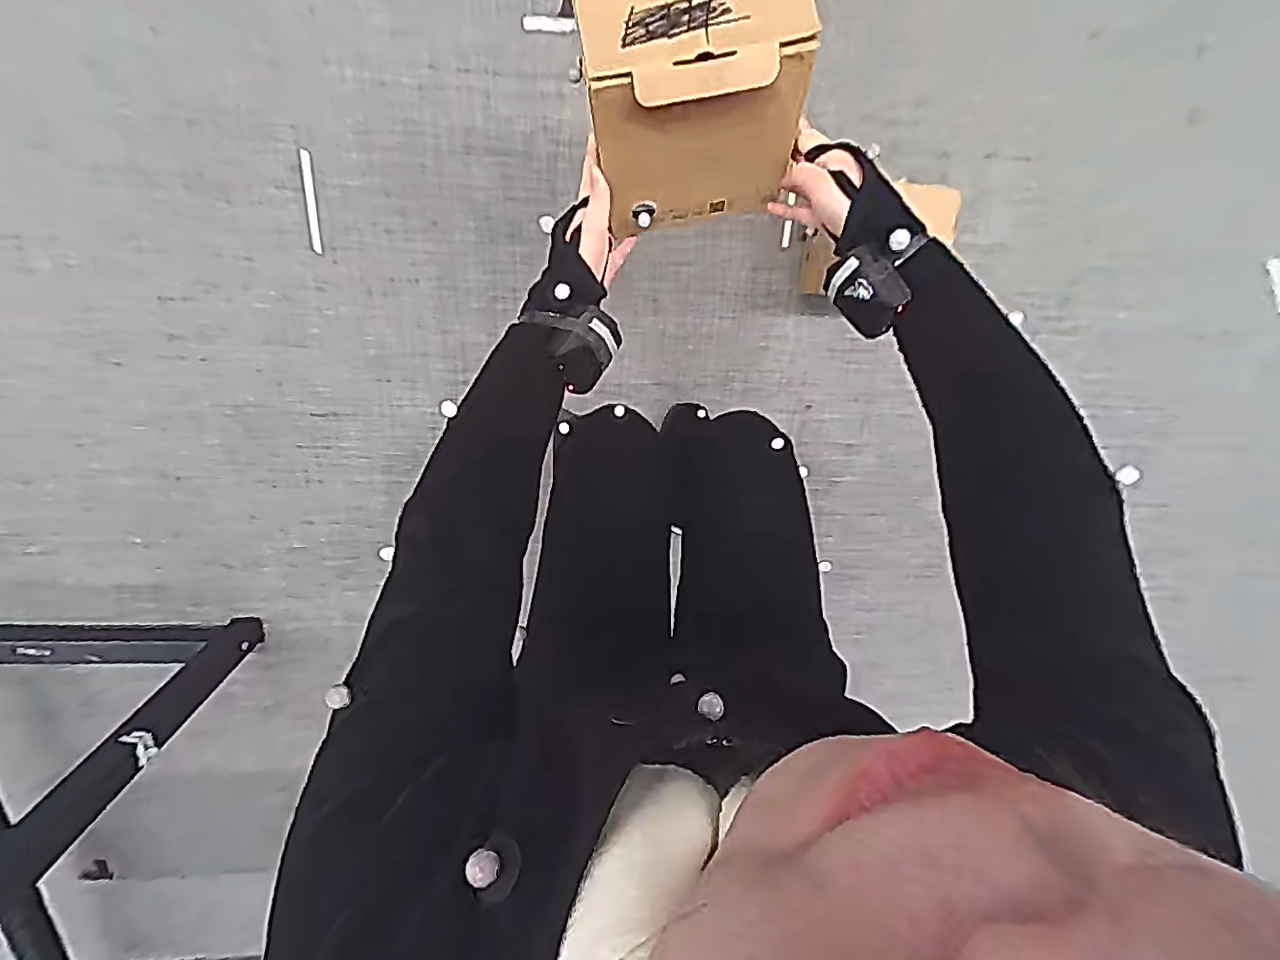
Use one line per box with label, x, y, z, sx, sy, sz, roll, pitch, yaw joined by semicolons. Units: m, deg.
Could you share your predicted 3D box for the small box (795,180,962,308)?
small box;0.383;-0.384;0.900;0.179;0.176;0.168;4;109;-6
